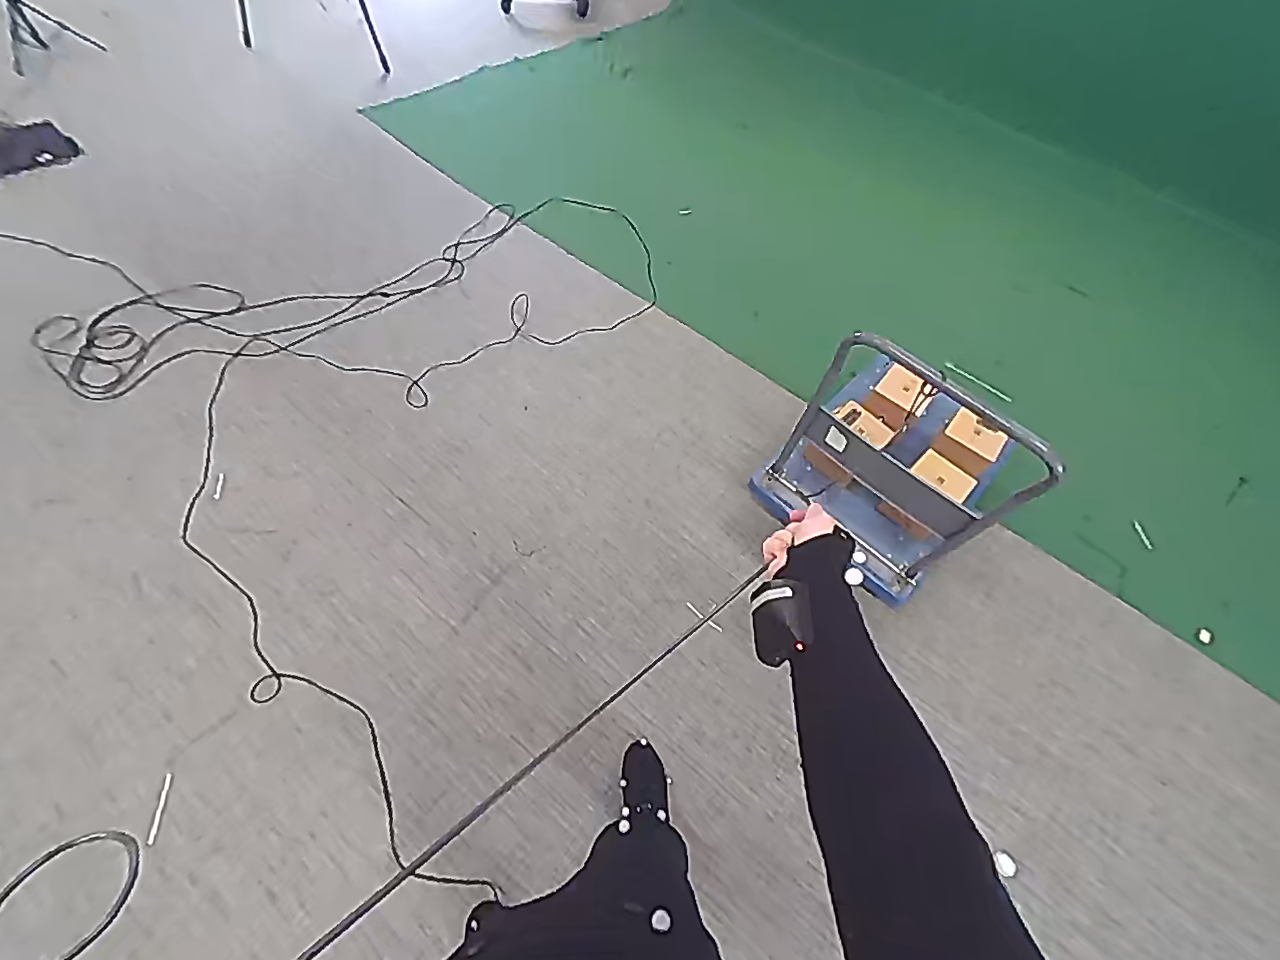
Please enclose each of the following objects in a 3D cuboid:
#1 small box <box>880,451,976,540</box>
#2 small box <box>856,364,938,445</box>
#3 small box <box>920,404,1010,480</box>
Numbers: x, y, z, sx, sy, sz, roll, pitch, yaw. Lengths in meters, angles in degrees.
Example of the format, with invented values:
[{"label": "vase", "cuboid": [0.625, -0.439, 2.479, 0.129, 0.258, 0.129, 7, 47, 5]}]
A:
[{"label": "small box", "cuboid": [0.872, 0.049, 1.653, 0.168, 0.176, 0.179, 42, 63, 19]}, {"label": "small box", "cuboid": [0.865, -0.253, 1.841, 0.168, 0.176, 0.179, 38, 61, 16]}, {"label": "small box", "cuboid": [1.058, -0.107, 1.771, 0.168, 0.176, 0.179, 37, 62, 17]}]
